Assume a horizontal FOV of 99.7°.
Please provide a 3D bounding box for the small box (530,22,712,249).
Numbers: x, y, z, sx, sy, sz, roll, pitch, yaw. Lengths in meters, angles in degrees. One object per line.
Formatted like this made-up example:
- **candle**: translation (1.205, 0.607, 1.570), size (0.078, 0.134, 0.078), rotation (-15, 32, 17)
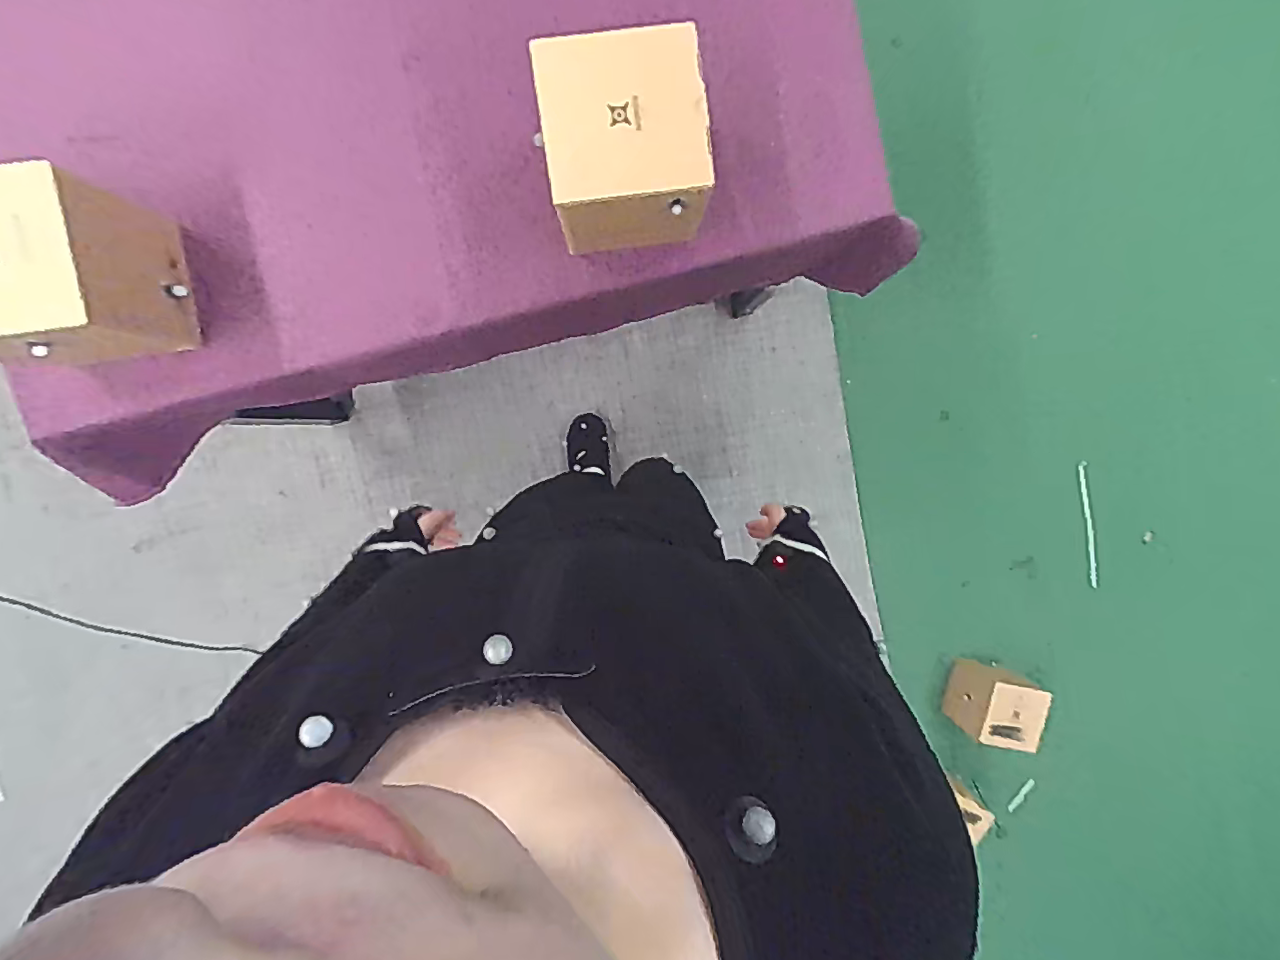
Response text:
- **small box**: translation (-0.021, -0.391, 0.645), size (0.179, 0.176, 0.168), rotation (-8, 96, -2)

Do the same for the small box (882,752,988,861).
- **small box**: translation (0.838, 0.928, 1.555), size (0.168, 0.176, 0.179), rotation (34, 94, -6)

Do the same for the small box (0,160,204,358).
- **small box**: translation (-0.669, -0.241, 0.630), size (0.179, 0.176, 0.168), rotation (-7, 97, -3)
